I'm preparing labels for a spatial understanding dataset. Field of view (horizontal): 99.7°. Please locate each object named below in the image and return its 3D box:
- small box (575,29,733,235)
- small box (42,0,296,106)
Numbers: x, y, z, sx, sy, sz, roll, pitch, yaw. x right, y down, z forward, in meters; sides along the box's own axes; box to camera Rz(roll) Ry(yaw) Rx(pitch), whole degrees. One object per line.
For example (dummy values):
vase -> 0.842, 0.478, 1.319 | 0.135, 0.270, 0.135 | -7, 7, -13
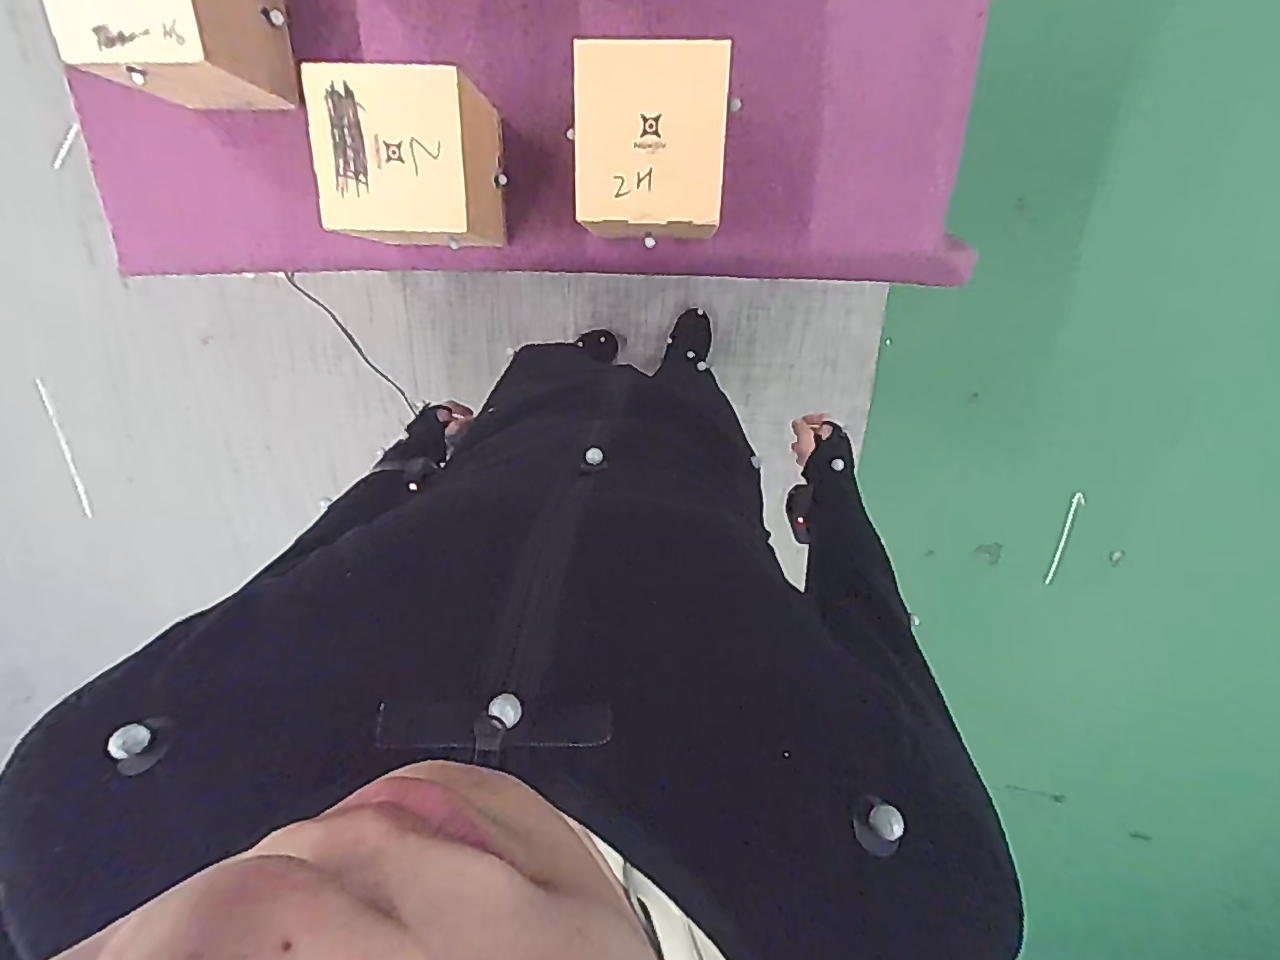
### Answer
small box -> 0.015, -0.406, 0.660 | 0.168, 0.176, 0.179 | 3, 109, 3
small box -> -0.544, -0.568, 0.632 | 0.168, 0.176, 0.179 | 2, 110, 4
